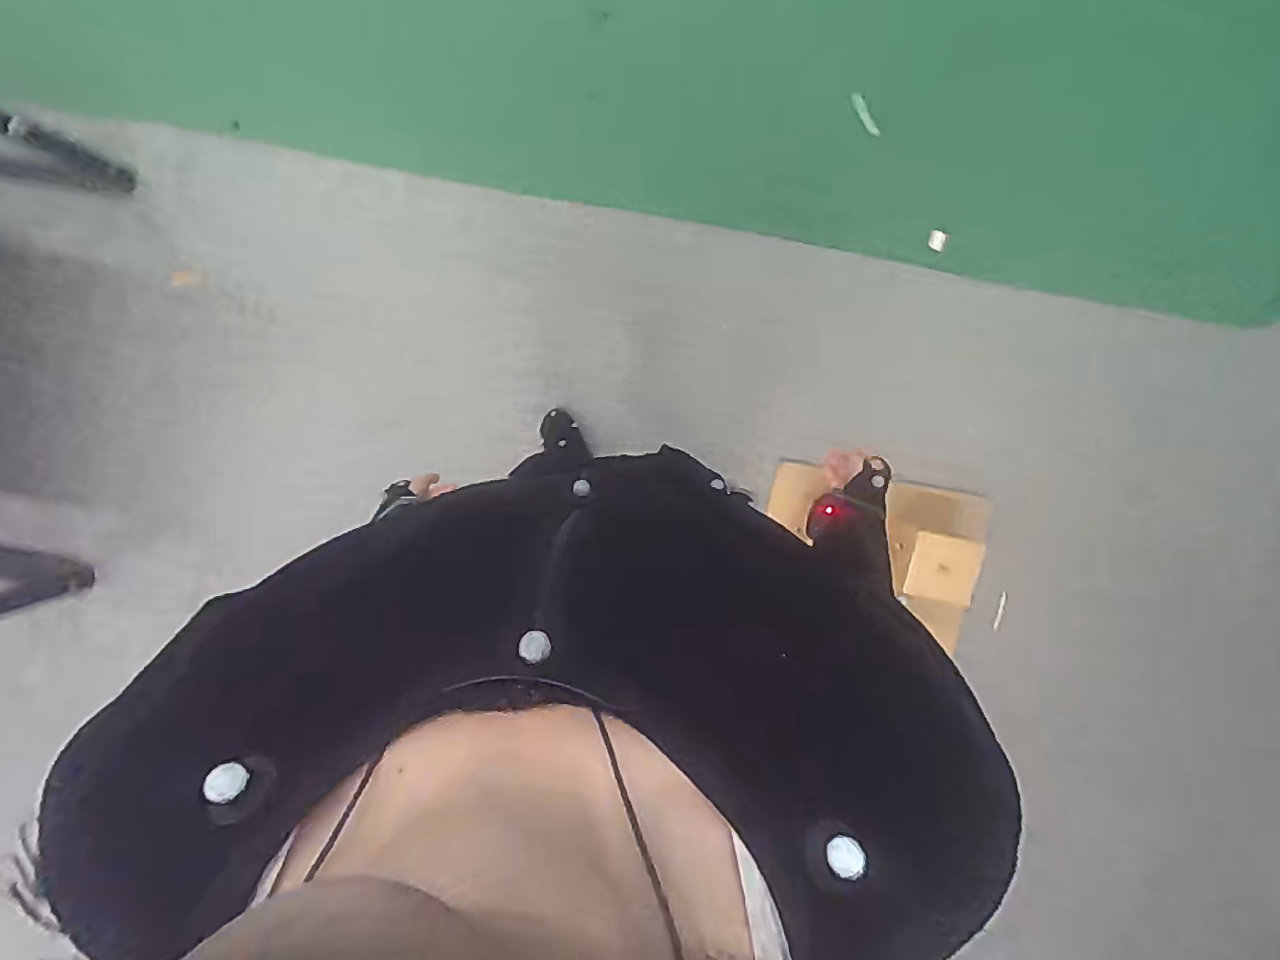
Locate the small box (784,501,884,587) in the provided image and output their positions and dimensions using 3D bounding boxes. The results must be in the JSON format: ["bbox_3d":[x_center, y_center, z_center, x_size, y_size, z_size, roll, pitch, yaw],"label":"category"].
[{"bbox_3d":[0.499,0.159,1.421,0.179,0.176,0.168,16,98,-1],"label":"small box"}]

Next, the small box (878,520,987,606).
[{"bbox_3d":[0.759,0.211,1.426,0.179,0.176,0.168,12,98,-1],"label":"small box"}]
